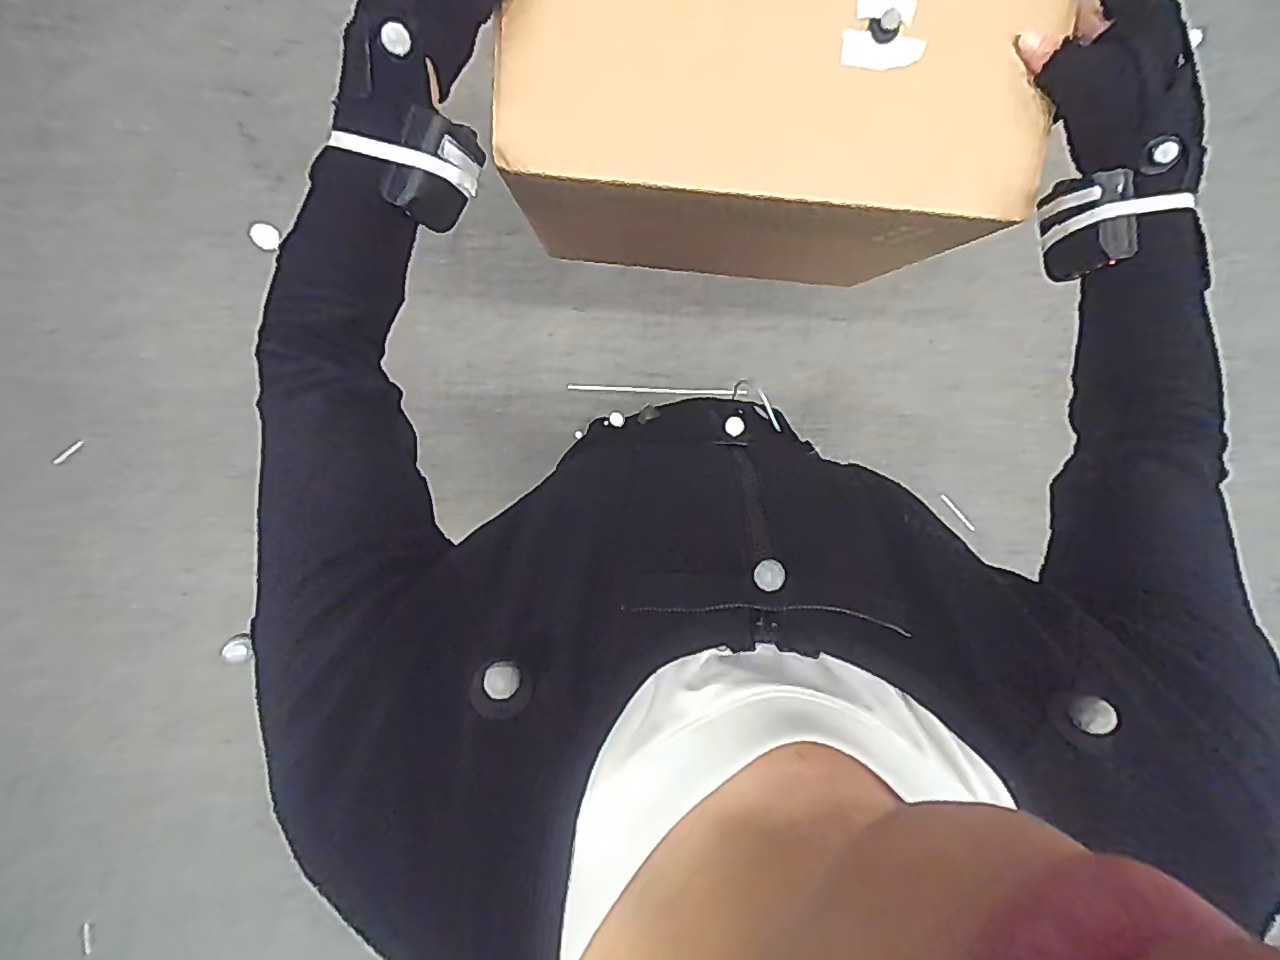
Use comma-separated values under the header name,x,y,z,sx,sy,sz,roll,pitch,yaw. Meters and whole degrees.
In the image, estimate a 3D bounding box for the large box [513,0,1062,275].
name,x,y,z,sx,sy,sz,roll,pitch,yaw
large box,0.102,-0.400,0.528,0.408,0.320,0.320,4,101,-4
